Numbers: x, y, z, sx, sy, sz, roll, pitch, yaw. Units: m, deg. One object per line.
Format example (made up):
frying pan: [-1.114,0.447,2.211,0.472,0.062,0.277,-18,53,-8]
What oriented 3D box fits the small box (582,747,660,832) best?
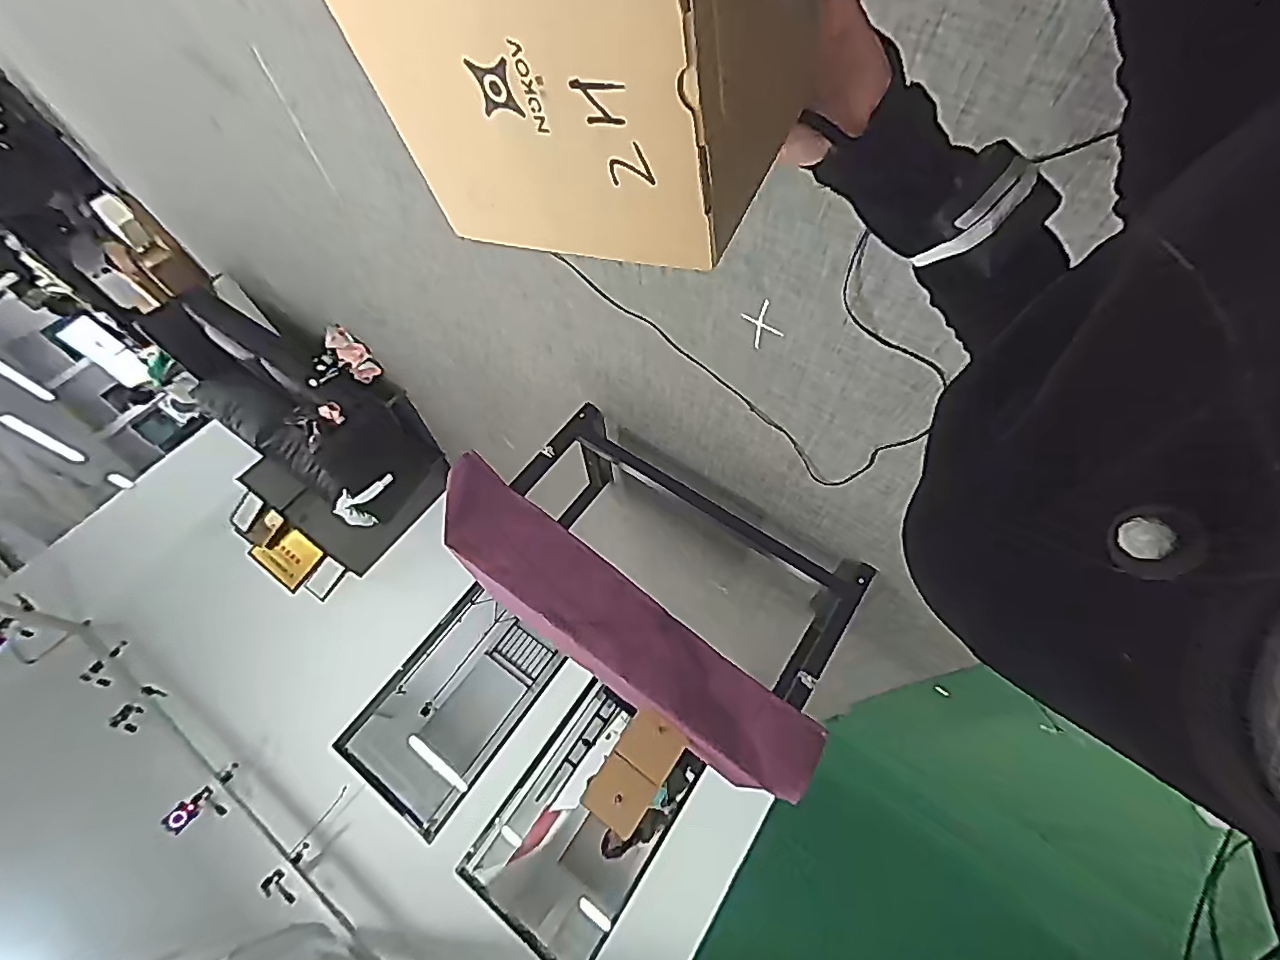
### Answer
small box: [-0.054,0.951,1.678,0.179,0.176,0.168,30,156,19]

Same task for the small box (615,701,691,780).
small box: [0.043,0.832,1.740,0.179,0.176,0.168,31,157,20]

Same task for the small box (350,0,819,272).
small box: [-0.015,-0.240,0.280,0.179,0.176,0.168,17,155,21]
